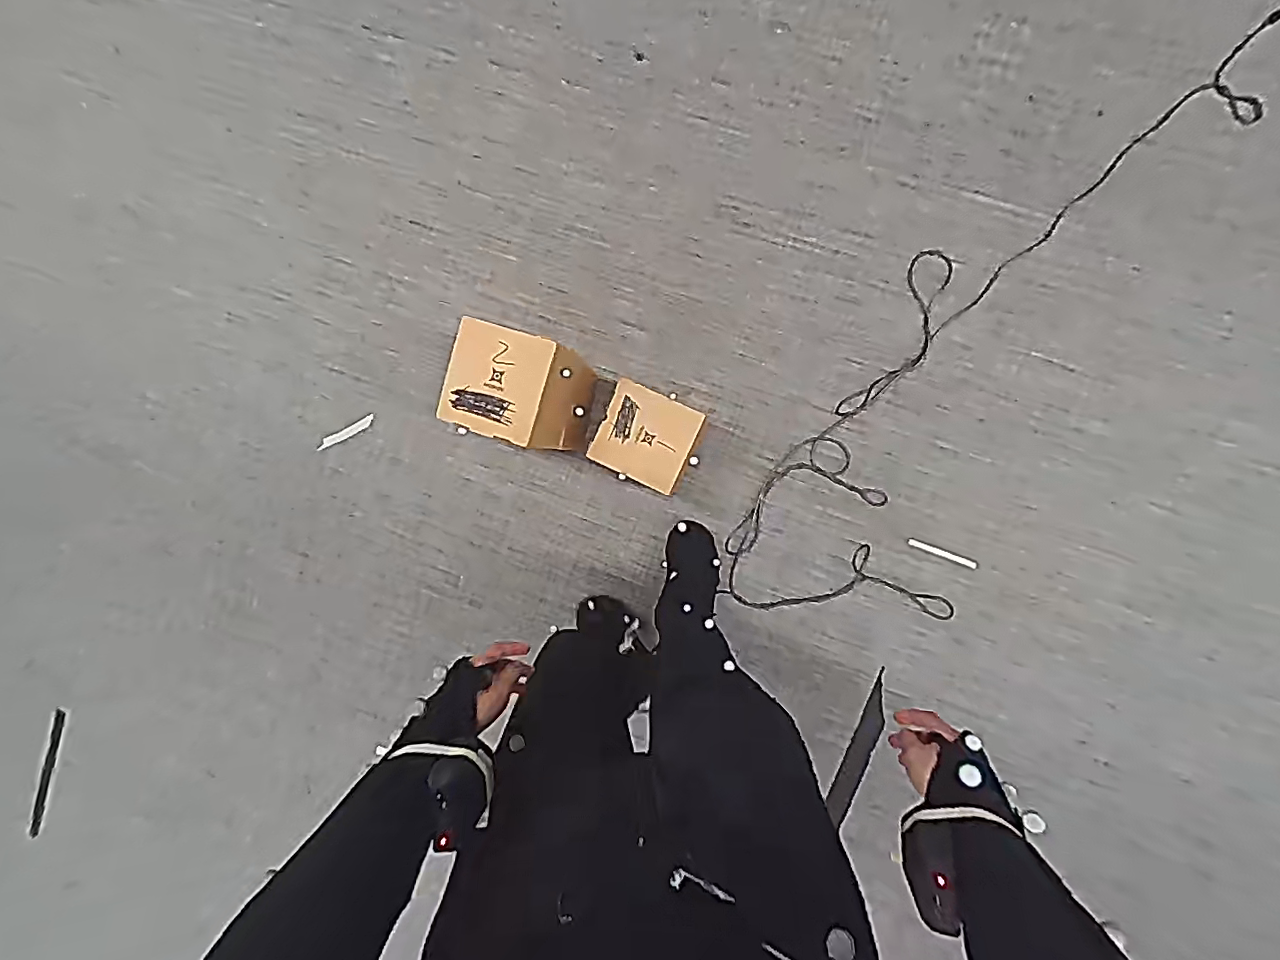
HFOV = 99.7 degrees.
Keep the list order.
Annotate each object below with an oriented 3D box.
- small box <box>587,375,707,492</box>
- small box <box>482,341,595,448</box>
[{"bbox_3d":[0.021,-0.088,1.072,0.179,0.176,0.168,25,96,6],"label":"small box"},{"bbox_3d":[-0.198,-0.166,1.103,0.168,0.176,0.179,13,95,7],"label":"small box"}]
